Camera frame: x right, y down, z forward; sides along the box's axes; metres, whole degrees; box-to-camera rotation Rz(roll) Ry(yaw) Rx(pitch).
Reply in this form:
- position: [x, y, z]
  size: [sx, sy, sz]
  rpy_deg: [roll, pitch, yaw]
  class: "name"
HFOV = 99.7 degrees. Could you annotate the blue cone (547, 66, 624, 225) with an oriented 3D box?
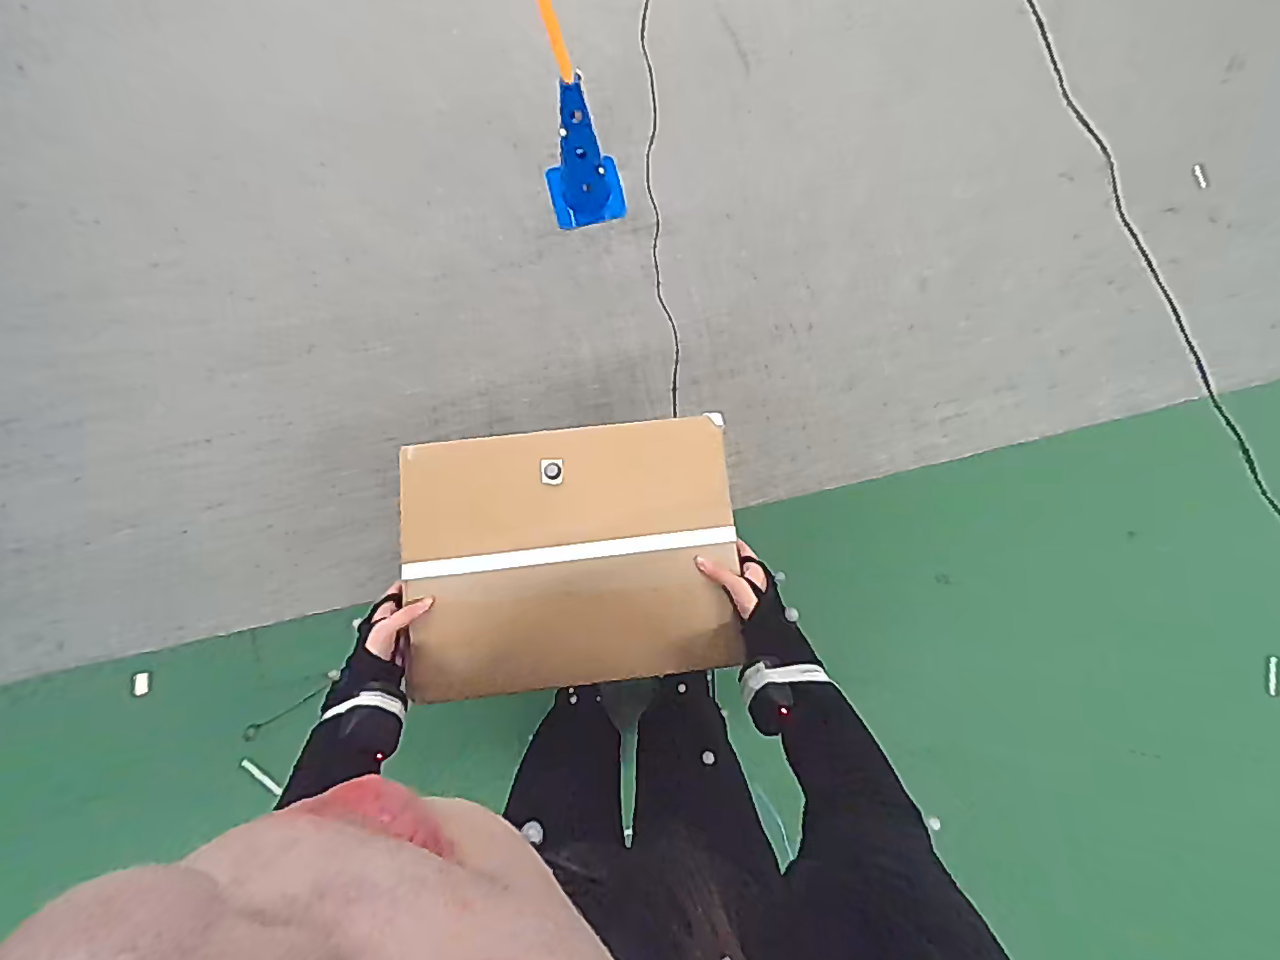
- position: [-0.154, -0.837, 1.346]
  size: [0.193, 0.380, 0.192]
  rpy_deg: [-16, 80, -1]
  class: "blue cone"
